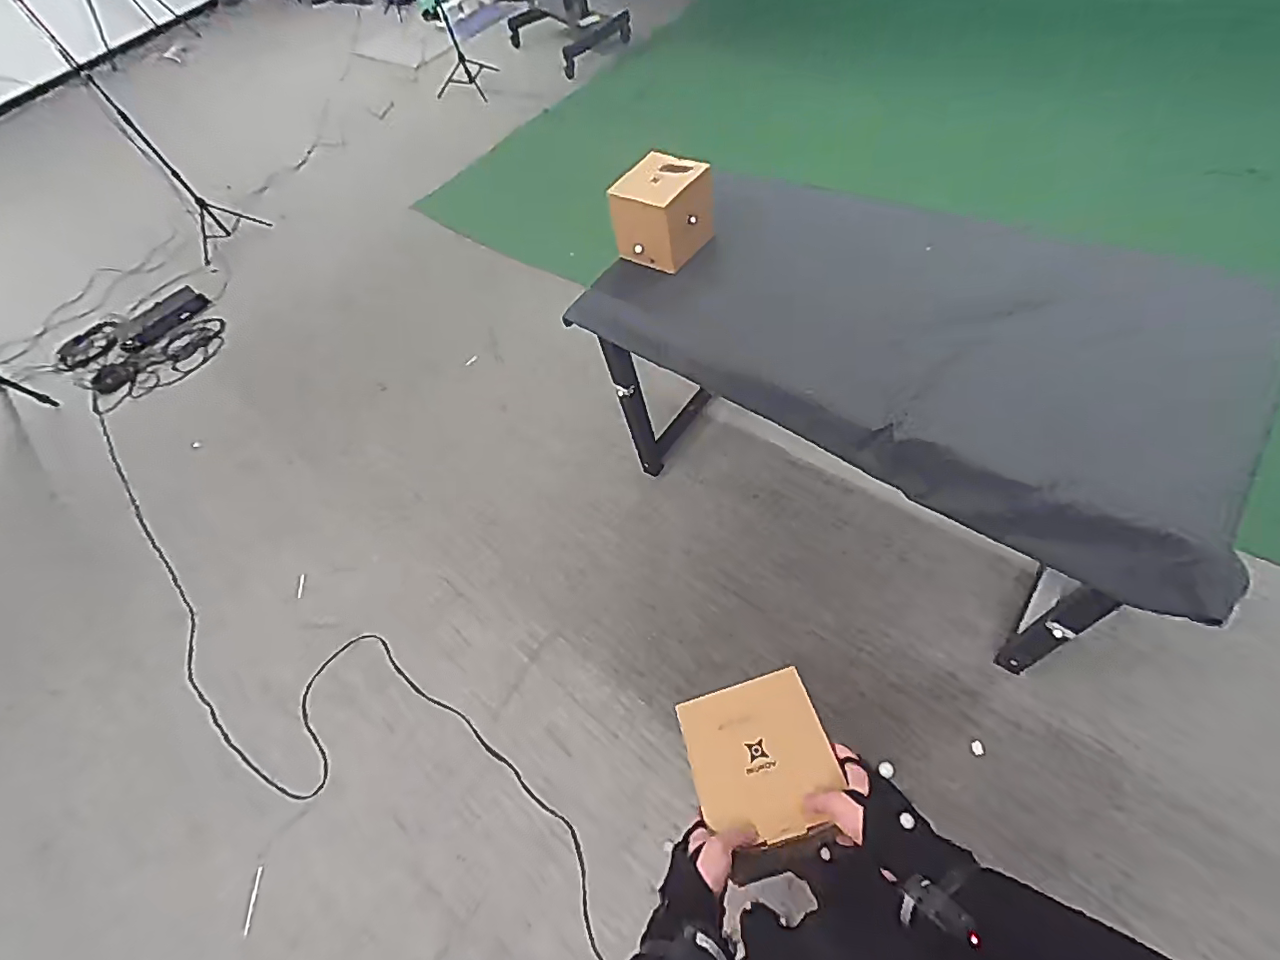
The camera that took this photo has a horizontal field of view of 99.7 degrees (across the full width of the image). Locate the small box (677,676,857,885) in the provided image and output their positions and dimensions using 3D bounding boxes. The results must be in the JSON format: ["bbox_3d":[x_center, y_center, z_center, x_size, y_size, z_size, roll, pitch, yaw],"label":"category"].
[{"bbox_3d":[0.163,0.391,0.696,0.168,0.176,0.179,-19,41,1],"label":"small box"}]

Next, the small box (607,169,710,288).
[{"bbox_3d":[0.051,-0.587,1.266,0.168,0.176,0.179,29,67,27],"label":"small box"}]
